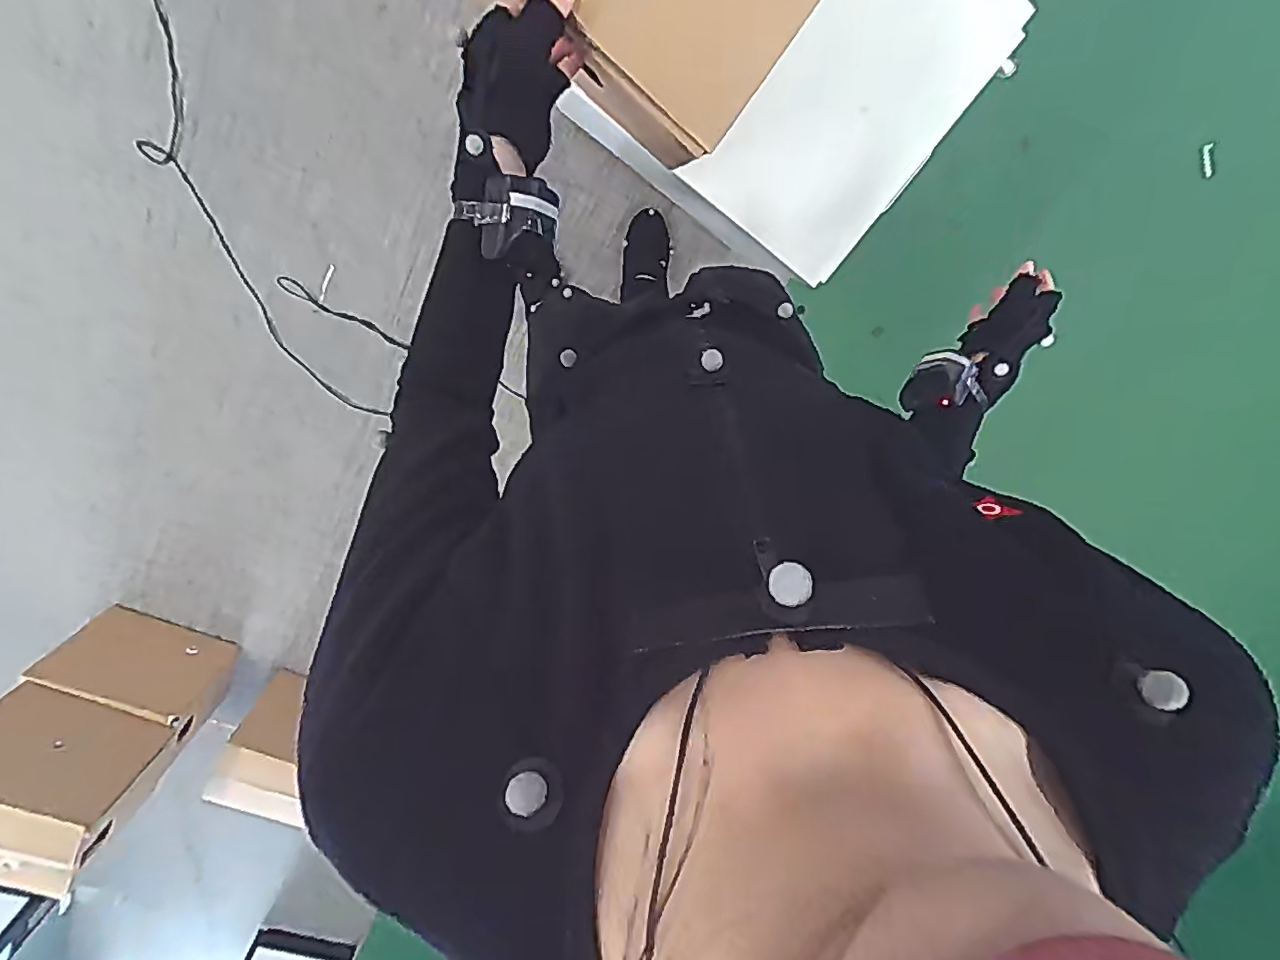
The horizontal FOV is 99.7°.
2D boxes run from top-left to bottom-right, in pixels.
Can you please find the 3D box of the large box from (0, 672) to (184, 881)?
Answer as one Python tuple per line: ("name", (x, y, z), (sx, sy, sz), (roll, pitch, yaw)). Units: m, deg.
("large box", (-1.596, 0.798, 1.474), (0.408, 0.320, 0.320), (28, 109, -15))
